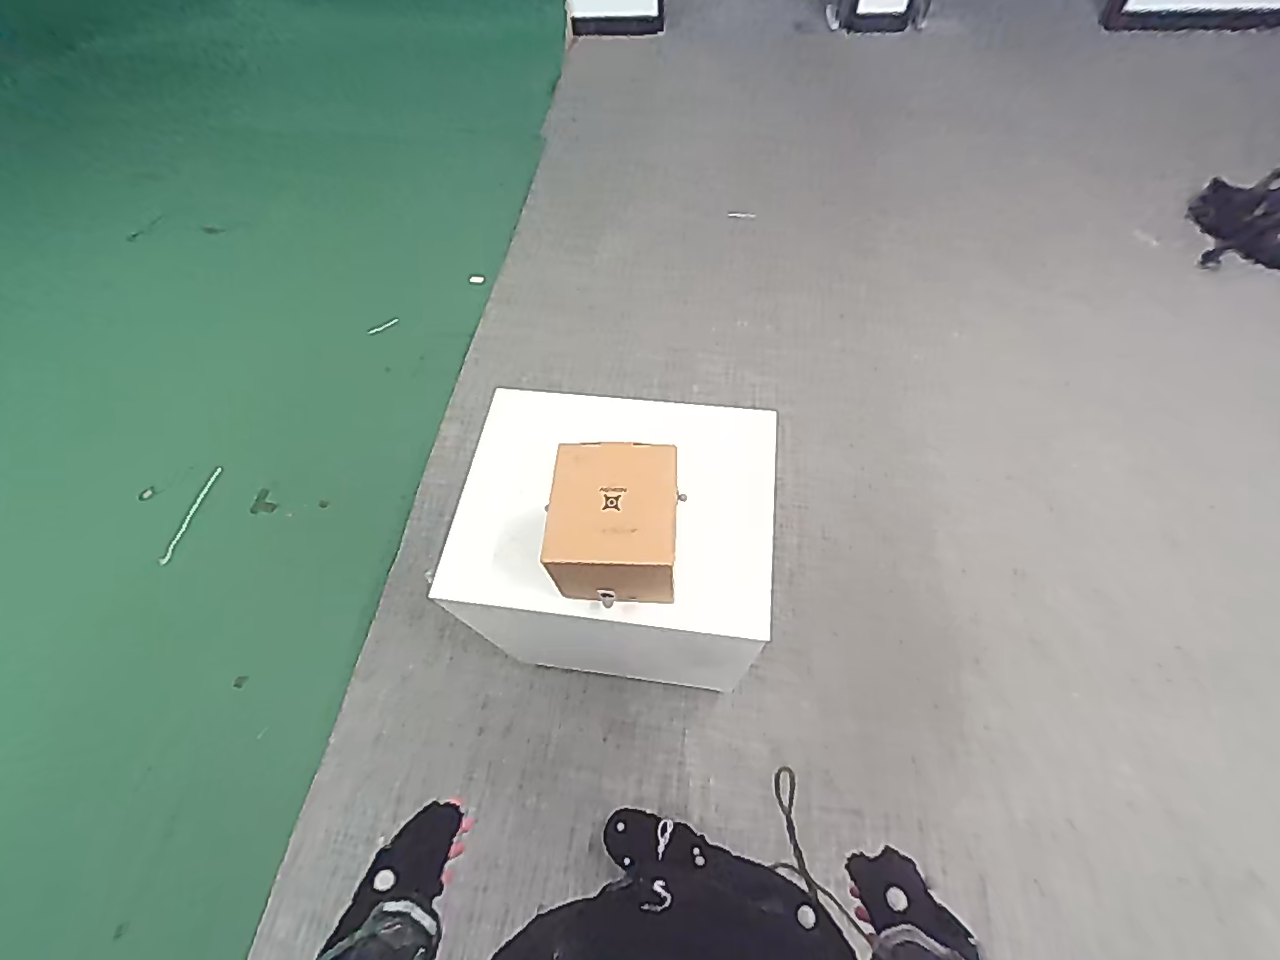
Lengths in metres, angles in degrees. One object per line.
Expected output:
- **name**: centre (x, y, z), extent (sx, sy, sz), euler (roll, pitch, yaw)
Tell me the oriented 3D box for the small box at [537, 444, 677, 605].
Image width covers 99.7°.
- **small box**: centre (-0.034, 0.065, 0.760), extent (0.168, 0.176, 0.179), euler (0, 63, 6)
